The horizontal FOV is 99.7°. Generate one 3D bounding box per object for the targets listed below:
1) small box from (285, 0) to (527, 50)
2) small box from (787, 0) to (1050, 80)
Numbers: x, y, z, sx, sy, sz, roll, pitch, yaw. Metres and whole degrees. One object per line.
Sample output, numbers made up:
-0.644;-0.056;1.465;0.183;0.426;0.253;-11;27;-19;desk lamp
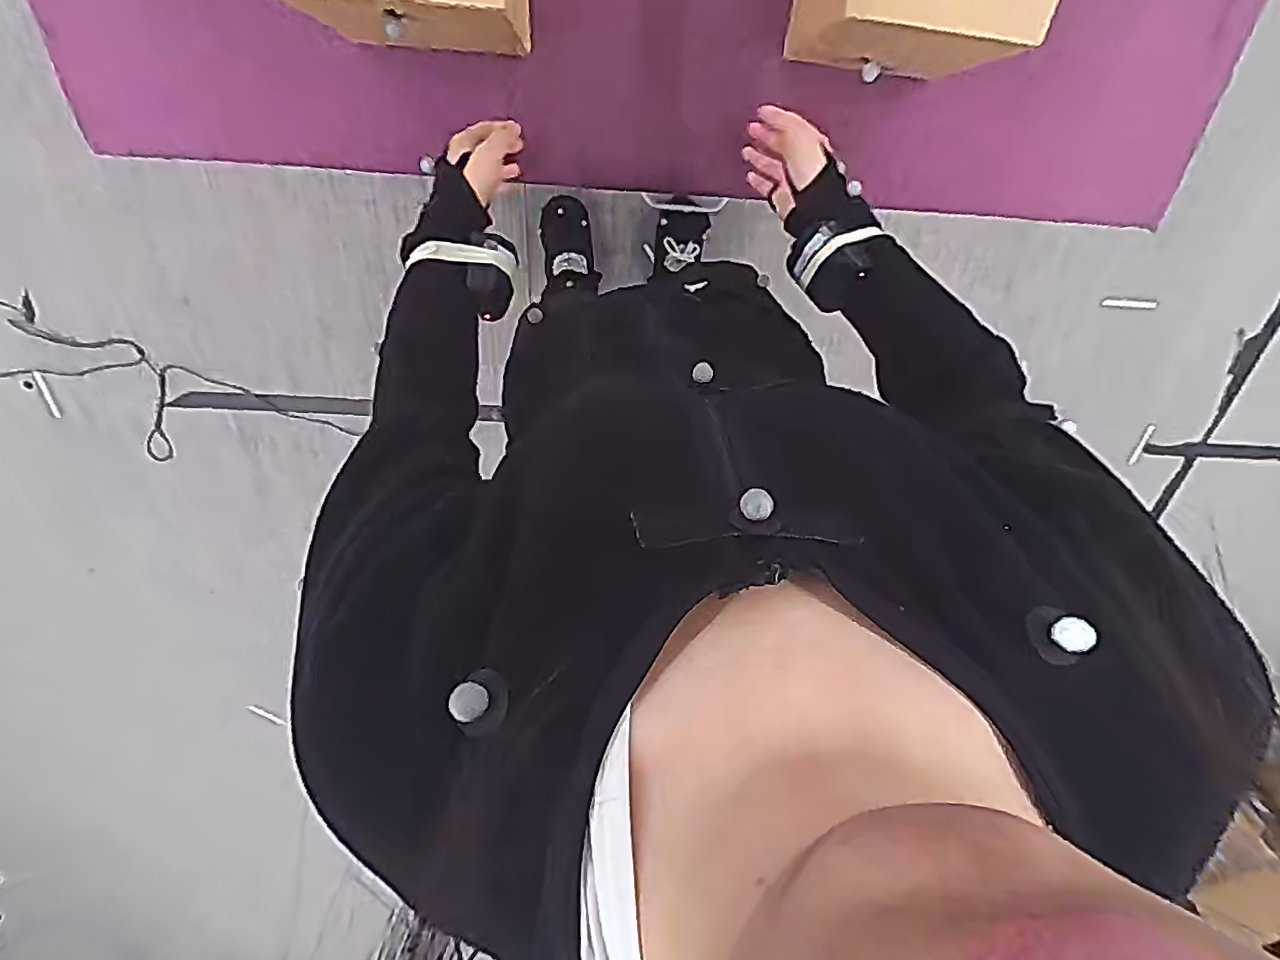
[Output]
-0.185;-0.463;0.429;0.179;0.176;0.168;2;119;-4;small box
0.238;-0.465;0.453;0.168;0.176;0.179;4;119;-6;small box
